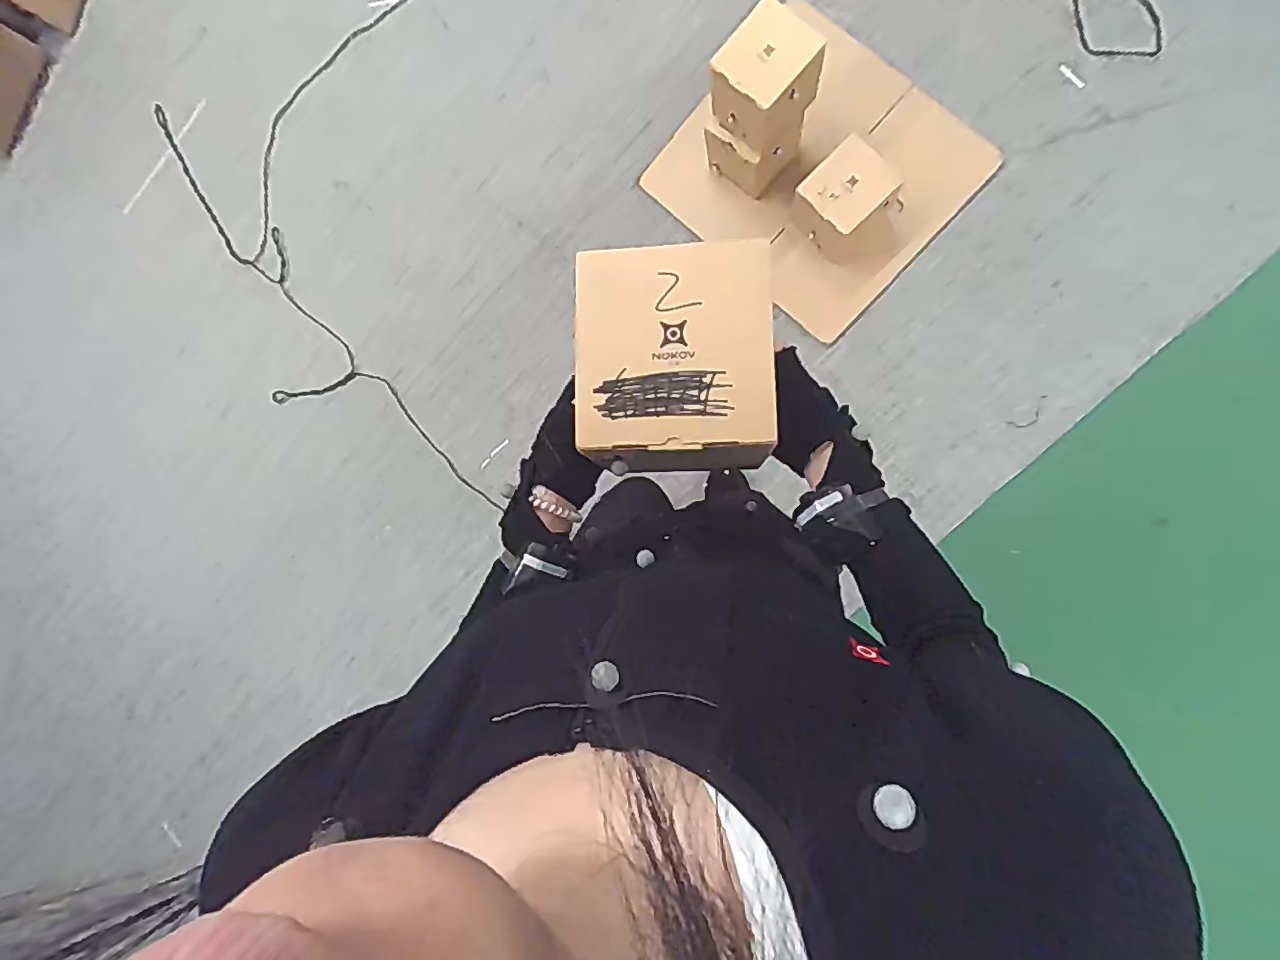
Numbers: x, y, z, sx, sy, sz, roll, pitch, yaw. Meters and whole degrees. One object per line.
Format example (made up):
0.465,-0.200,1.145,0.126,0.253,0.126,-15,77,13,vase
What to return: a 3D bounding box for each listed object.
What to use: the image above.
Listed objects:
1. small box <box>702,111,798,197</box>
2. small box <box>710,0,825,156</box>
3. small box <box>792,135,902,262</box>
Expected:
0.278,-0.850,1.342,0.168,0.176,0.179,42,98,8,small box
0.269,-0.865,1.178,0.168,0.176,0.179,44,98,7,small box
0.488,-0.669,1.307,0.179,0.176,0.168,-43,82,9,small box
